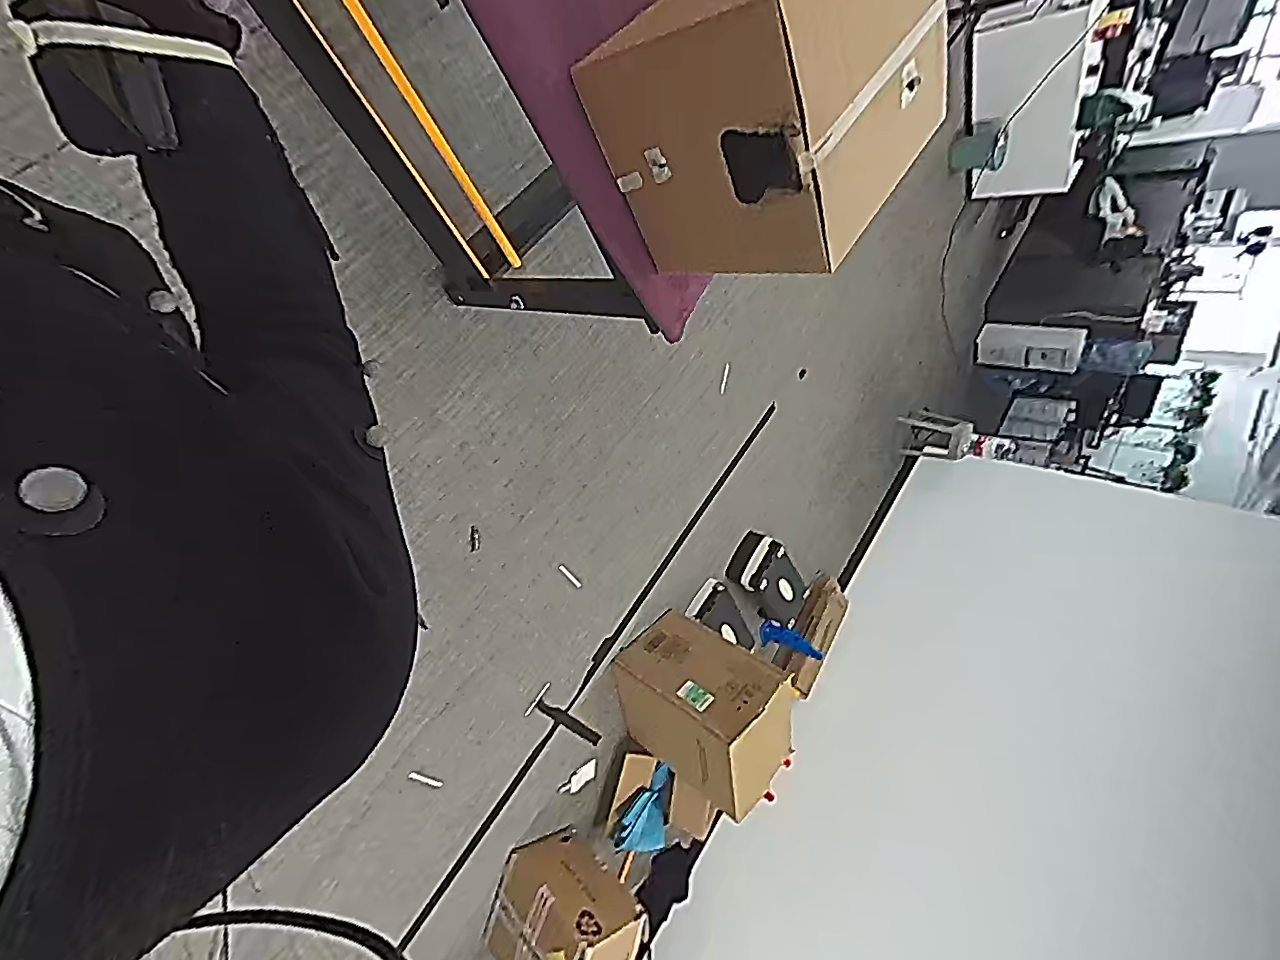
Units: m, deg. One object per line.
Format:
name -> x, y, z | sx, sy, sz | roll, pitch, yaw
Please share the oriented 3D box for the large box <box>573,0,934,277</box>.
large box -> 0.181, -0.546, 0.779 | 0.408, 0.320, 0.320 | -54, 138, -20
